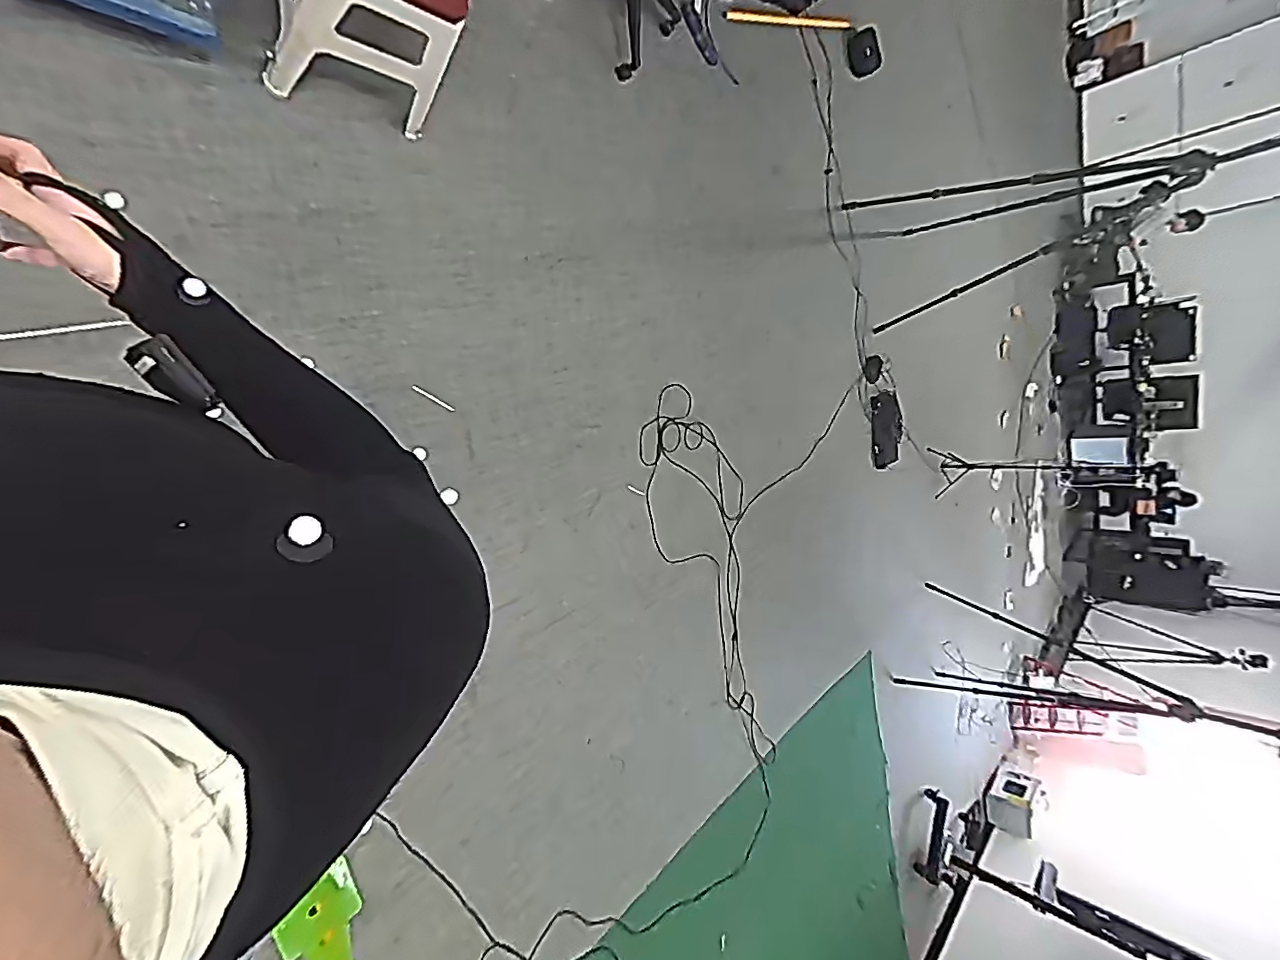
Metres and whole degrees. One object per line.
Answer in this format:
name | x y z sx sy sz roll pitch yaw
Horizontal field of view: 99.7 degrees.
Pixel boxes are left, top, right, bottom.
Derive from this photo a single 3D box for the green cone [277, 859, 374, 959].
green cone | -0.742 1.186 1.354 0.202 0.368 0.200 -23 107 -39
